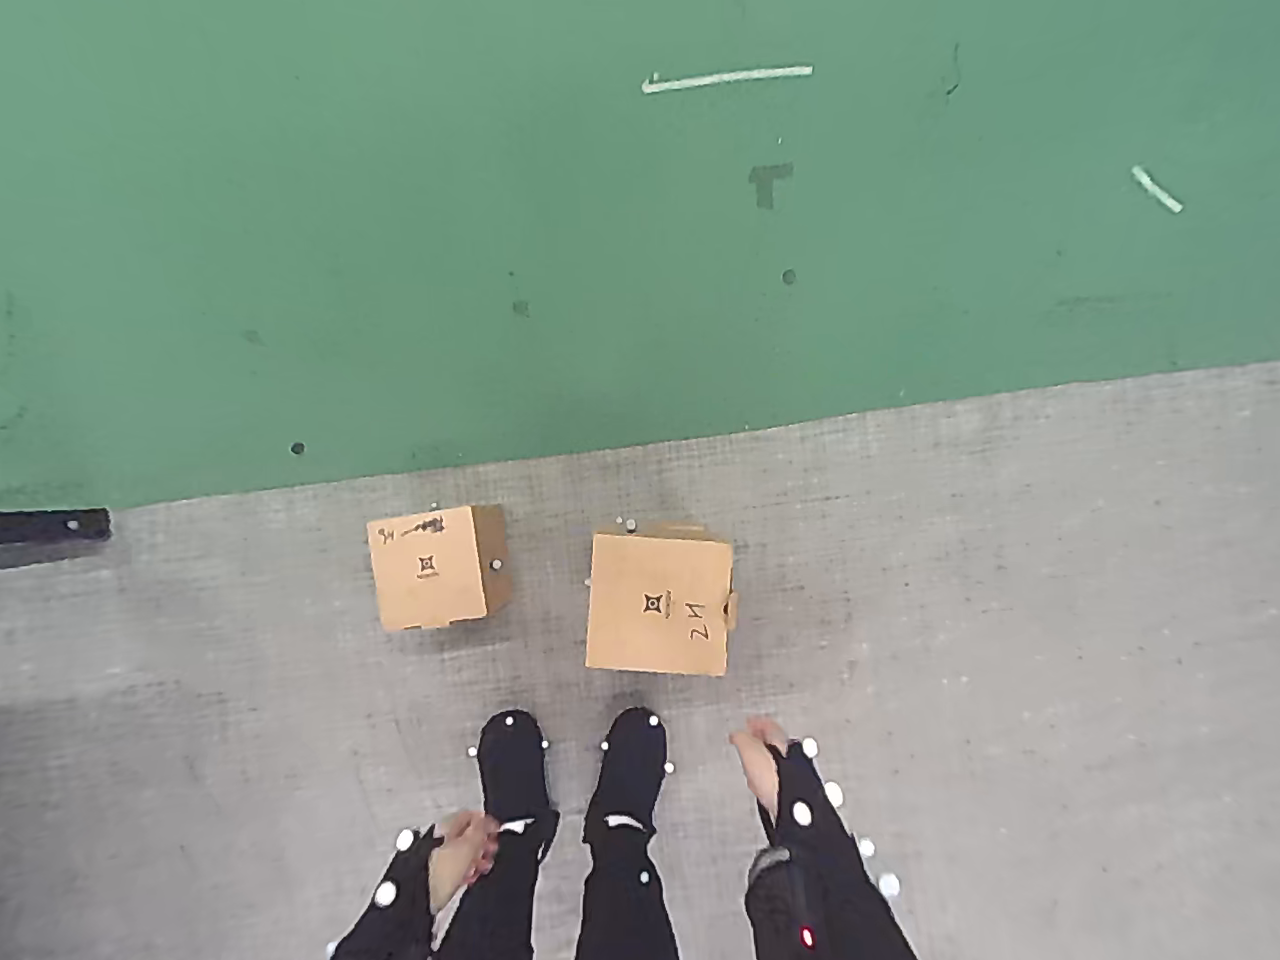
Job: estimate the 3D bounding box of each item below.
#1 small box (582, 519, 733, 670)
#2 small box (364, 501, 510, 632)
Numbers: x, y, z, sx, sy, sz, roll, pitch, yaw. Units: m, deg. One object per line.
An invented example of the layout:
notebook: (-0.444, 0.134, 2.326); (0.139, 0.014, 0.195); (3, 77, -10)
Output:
small box: (0.022, 0.143, 0.731); (0.179, 0.176, 0.168); (3, 90, 0)
small box: (-0.324, 0.133, 0.897); (0.168, 0.176, 0.179); (-9, 89, 0)
